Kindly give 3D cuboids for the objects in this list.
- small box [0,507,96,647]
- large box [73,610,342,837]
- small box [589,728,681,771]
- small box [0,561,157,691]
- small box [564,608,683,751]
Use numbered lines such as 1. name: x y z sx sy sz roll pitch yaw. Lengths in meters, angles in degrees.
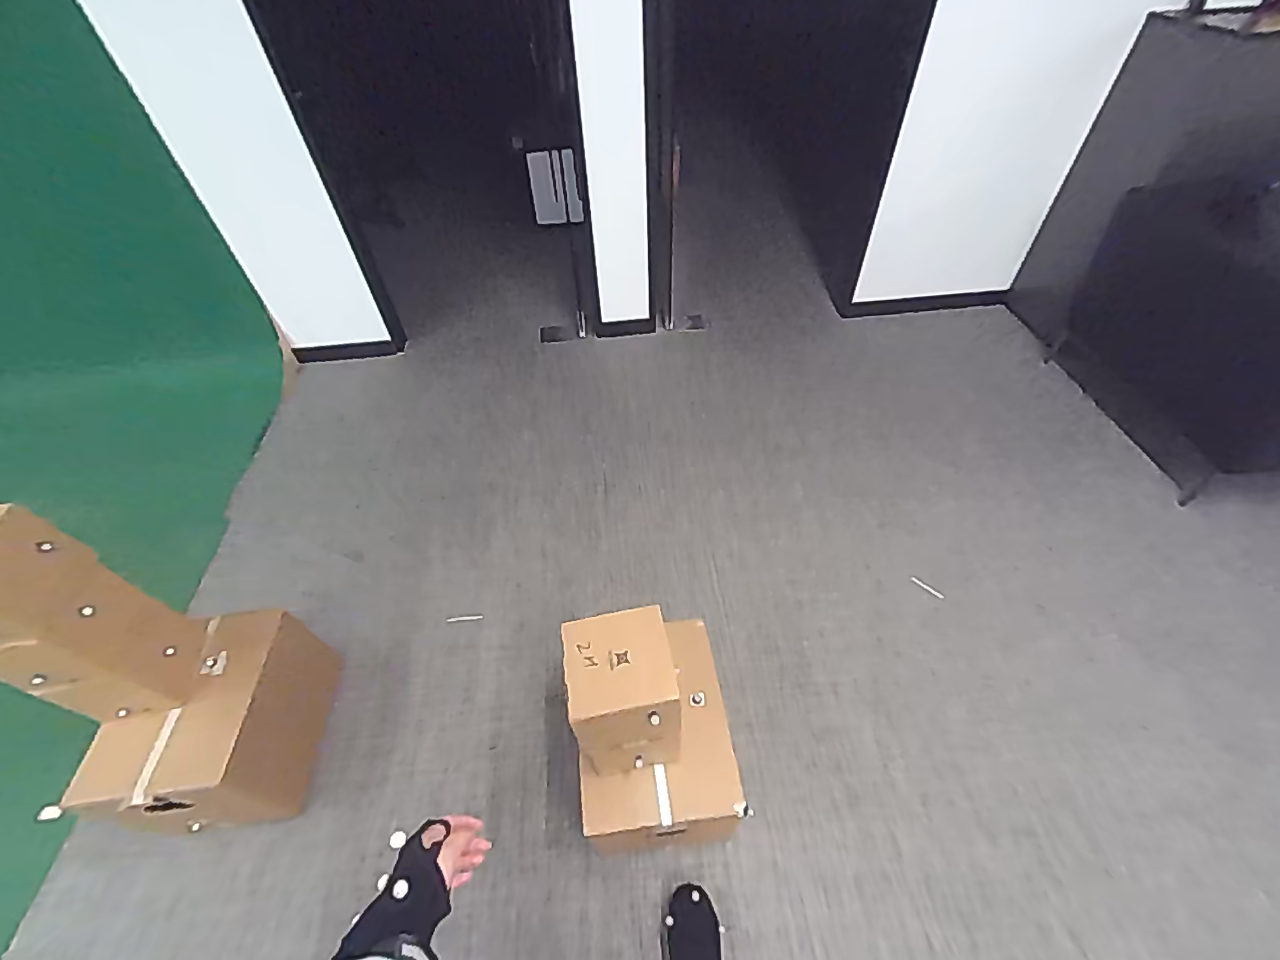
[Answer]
1. small box: -1.113 0.171 0.929 0.168 0.176 0.179 -8 50 1
2. large box: -0.992 0.587 1.316 0.320 0.320 0.408 -7 47 -2
3. small box: -0.015 0.453 1.060 0.168 0.176 0.179 -10 49 -4
4. small box: -1.102 0.284 1.047 0.168 0.176 0.179 -9 49 0
5. small box: -0.027 0.346 0.934 0.179 0.176 0.168 -10 48 -3
